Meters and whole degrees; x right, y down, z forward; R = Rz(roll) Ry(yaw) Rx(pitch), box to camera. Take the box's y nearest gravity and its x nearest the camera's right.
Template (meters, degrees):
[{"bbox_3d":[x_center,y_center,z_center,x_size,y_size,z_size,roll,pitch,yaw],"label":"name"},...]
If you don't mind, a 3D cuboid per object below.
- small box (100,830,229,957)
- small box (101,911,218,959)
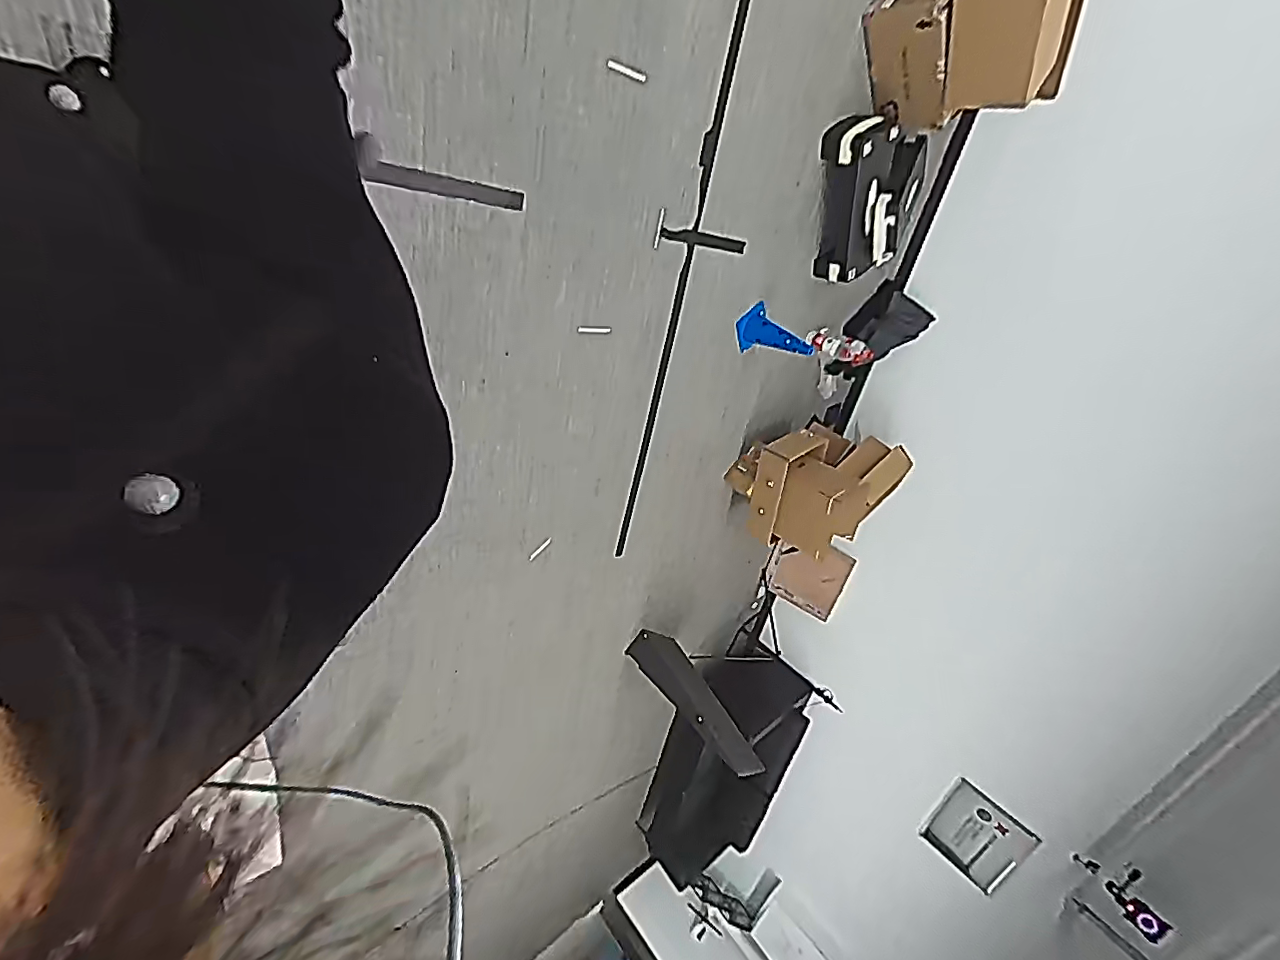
[{"bbox_3d":[-1.037,0.919,1.182,0.179,0.176,0.168,-17,130,-38],"label":"small box"},{"bbox_3d":[-0.954,1.016,1.077,0.168,0.176,0.179,-17,131,-39],"label":"small box"}]
